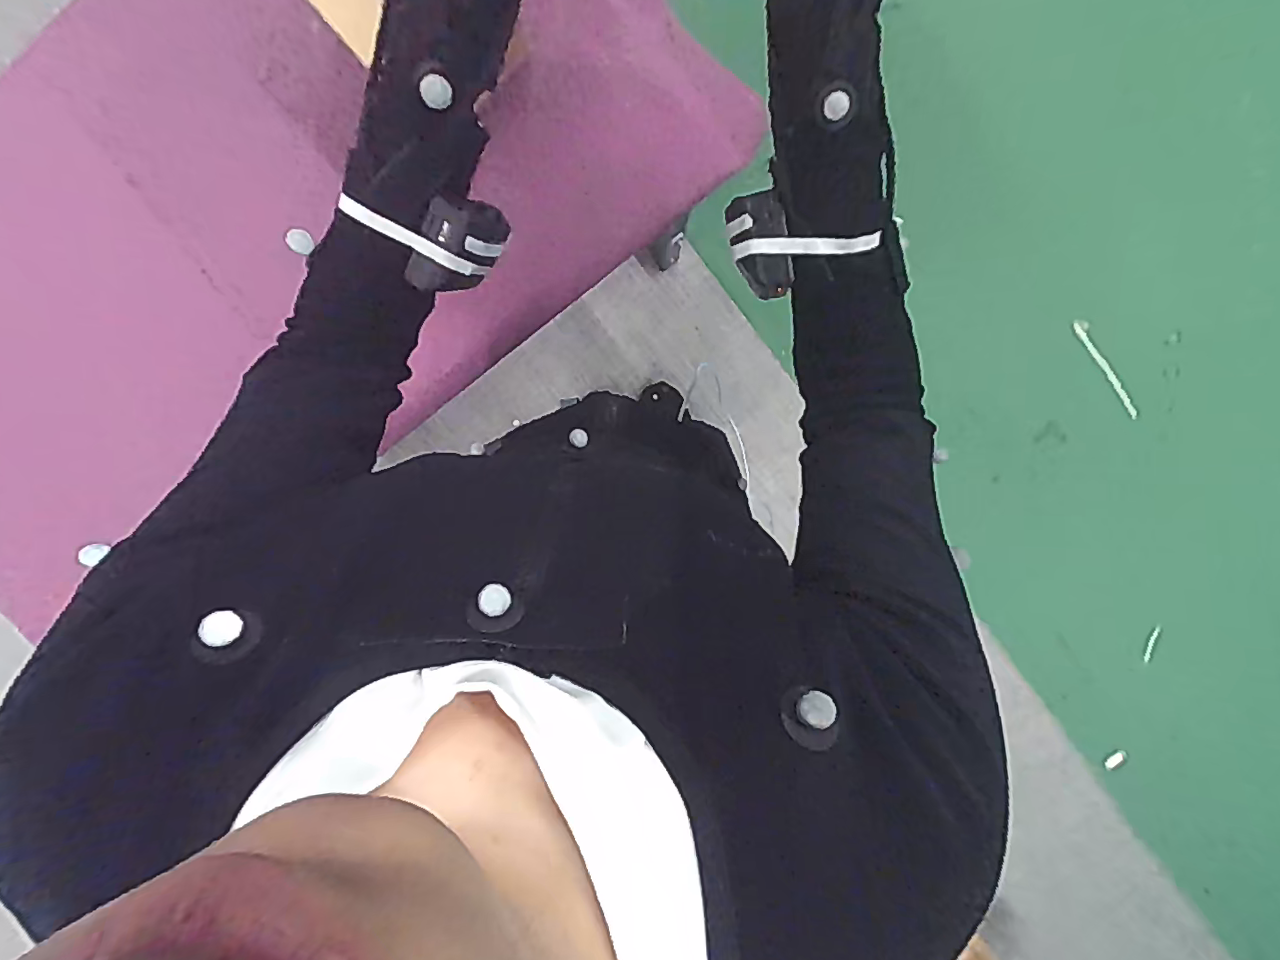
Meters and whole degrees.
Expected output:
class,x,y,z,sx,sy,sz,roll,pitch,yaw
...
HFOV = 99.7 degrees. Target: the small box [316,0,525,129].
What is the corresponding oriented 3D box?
class,x,y,z,sx,sy,sz,roll,pitch,yaw
small box,-0.248,-0.521,0.562,0.168,0.176,0.179,-40,99,8
